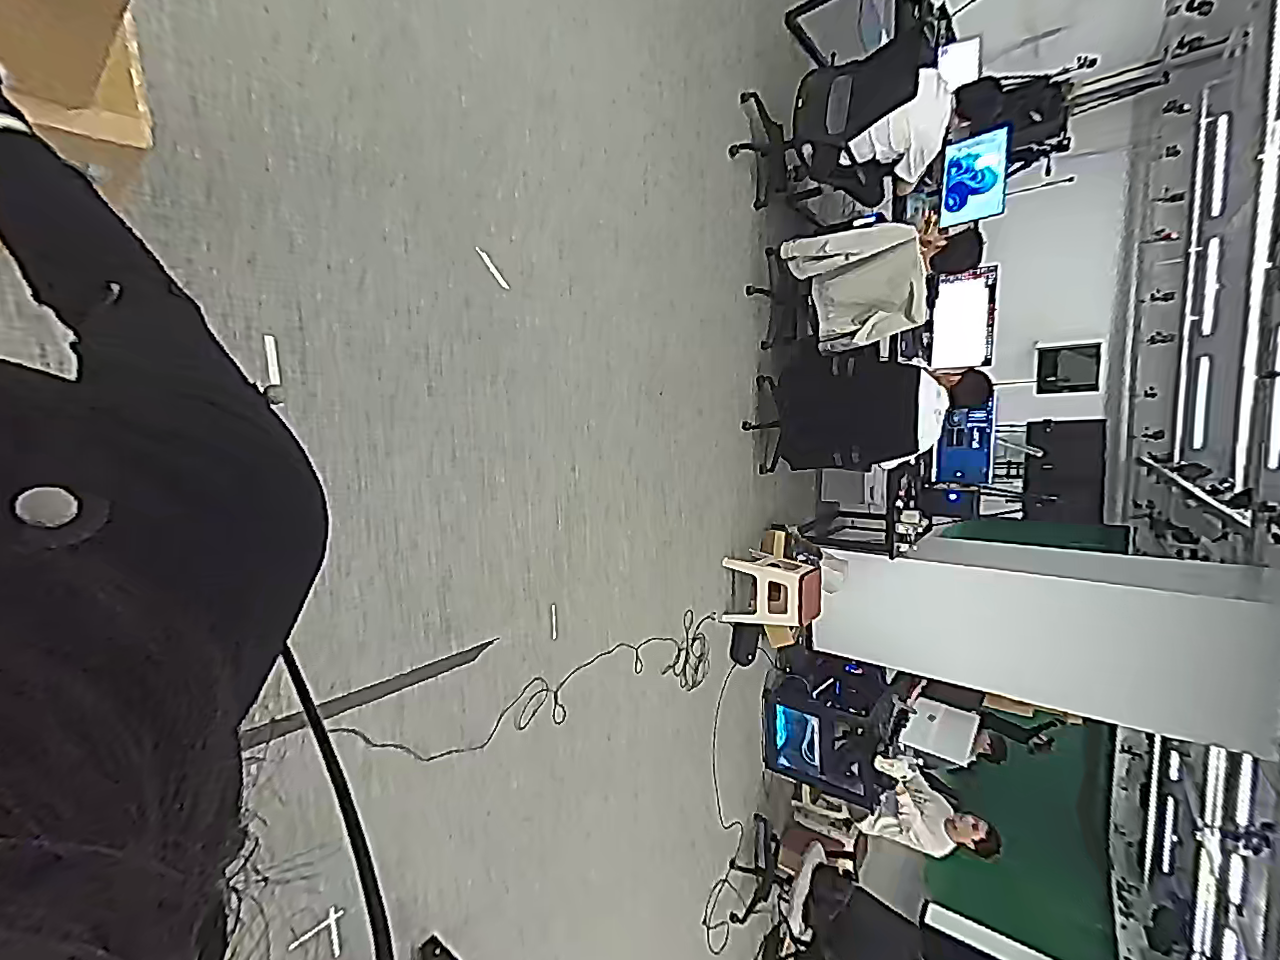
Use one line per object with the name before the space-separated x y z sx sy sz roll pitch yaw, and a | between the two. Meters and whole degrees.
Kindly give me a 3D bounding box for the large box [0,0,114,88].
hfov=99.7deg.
large box | -0.692 -0.586 0.391 0.408 0.320 0.320 -12 102 -53
